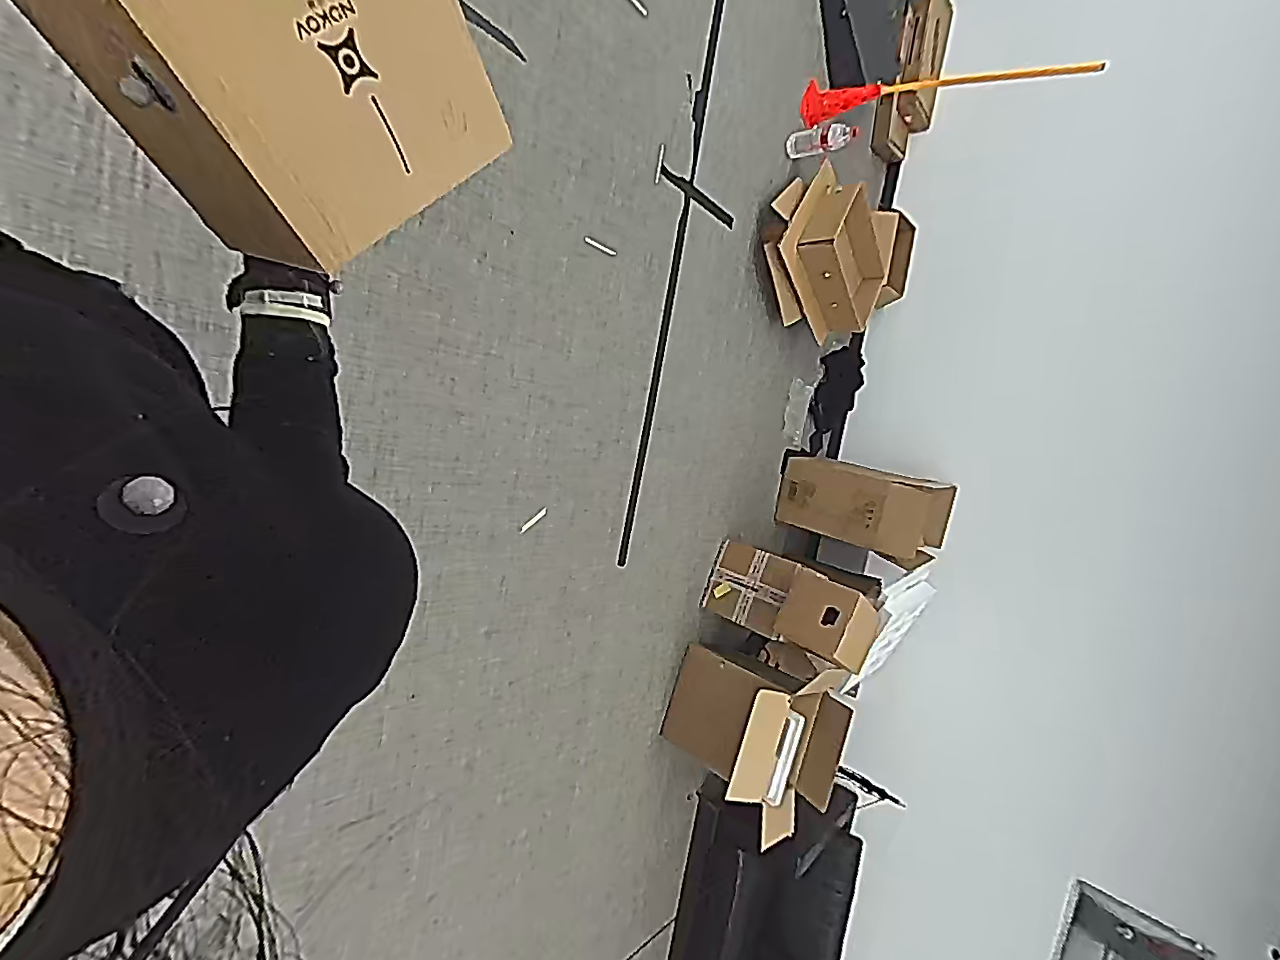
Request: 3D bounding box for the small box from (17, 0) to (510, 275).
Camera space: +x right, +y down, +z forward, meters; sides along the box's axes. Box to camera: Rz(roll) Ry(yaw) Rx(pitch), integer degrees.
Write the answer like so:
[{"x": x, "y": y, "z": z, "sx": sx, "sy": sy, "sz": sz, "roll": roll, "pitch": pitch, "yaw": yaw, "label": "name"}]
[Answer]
[{"x": -0.223, "y": -0.257, "z": 0.339, "sx": 0.168, "sy": 0.176, "sz": 0.179, "roll": -51, "pitch": 144, "yaw": -23, "label": "small box"}]
